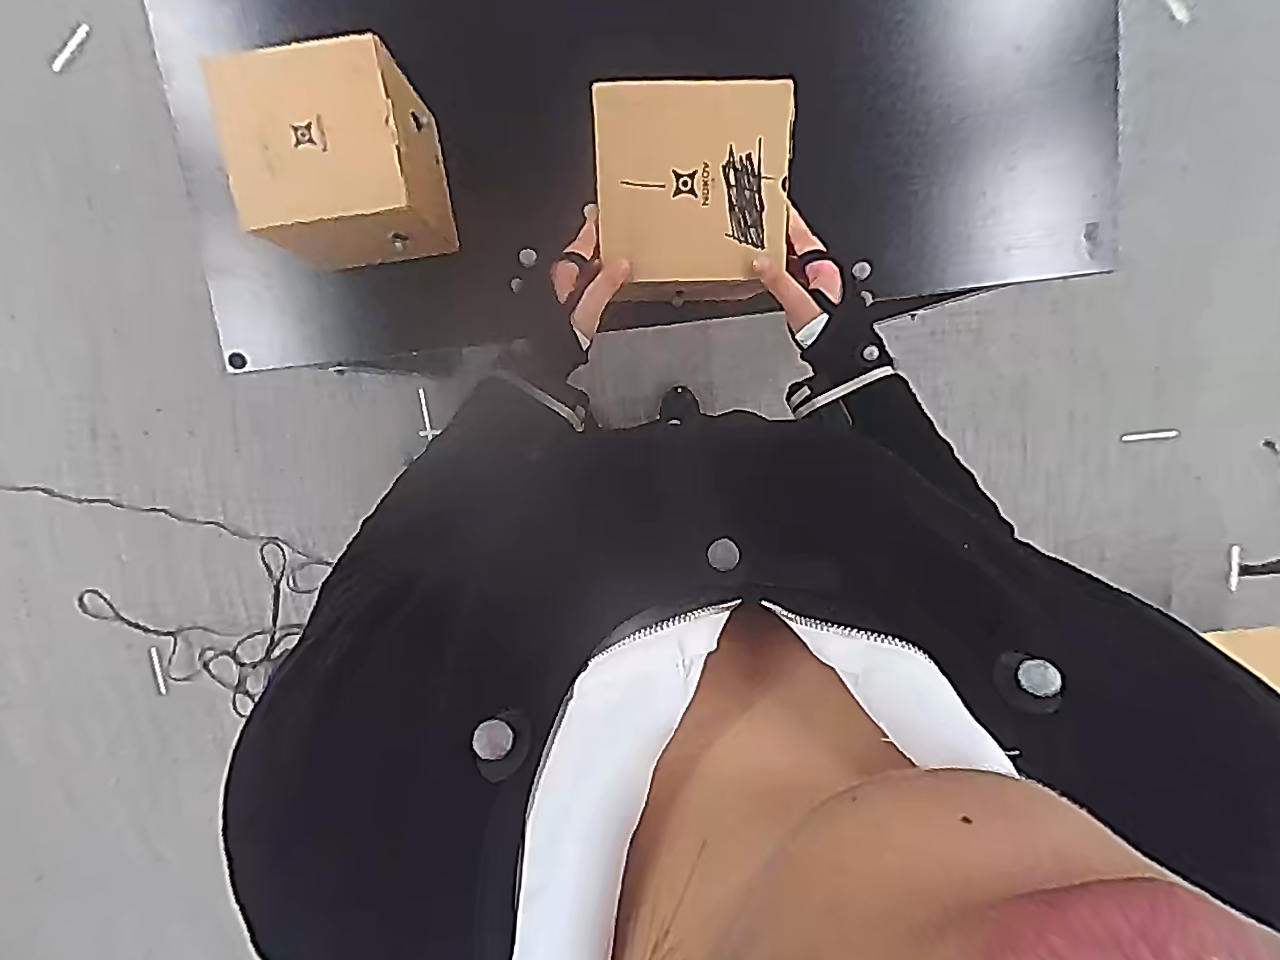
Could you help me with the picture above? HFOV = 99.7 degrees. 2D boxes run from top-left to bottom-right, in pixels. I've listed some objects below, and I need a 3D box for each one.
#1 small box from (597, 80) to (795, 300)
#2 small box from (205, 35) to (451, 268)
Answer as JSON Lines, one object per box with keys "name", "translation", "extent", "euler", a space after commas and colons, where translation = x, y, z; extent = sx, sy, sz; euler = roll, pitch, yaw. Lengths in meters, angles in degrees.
{"name": "small box", "translation": [0.046, -0.283, 0.563], "extent": [0.179, 0.176, 0.168], "euler": [-1, 103, -1]}
{"name": "small box", "translation": [-0.334, -0.357, 0.622], "extent": [0.179, 0.176, 0.168], "euler": [-9, 98, 1]}
